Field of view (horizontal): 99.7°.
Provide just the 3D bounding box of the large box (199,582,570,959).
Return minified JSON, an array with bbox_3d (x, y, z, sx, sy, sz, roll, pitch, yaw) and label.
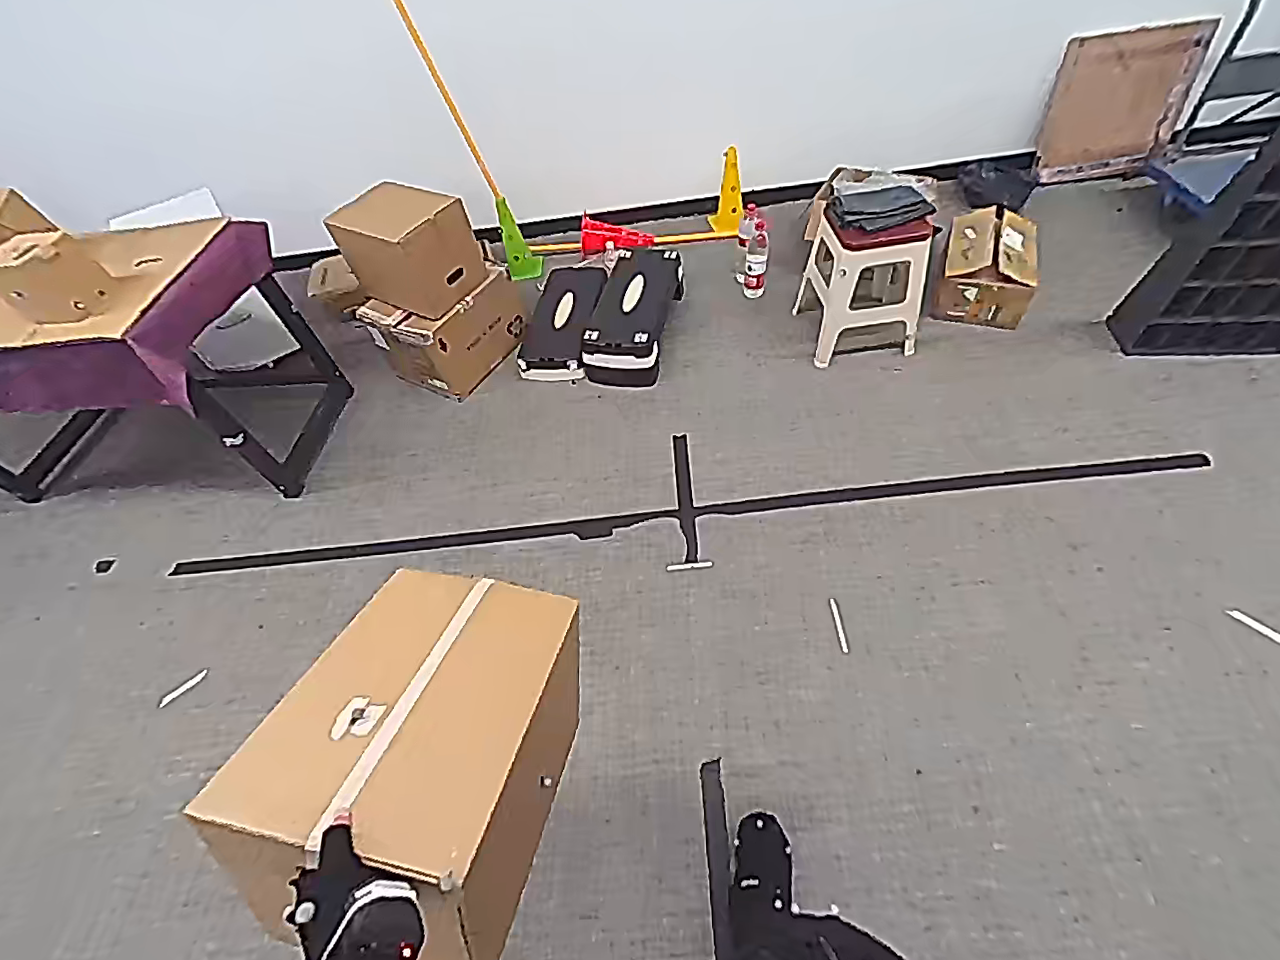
[{"bbox_3d":[-0.303,0.418,0.803,0.320,0.320,0.408,8,31,8],"label":"large box"}]
